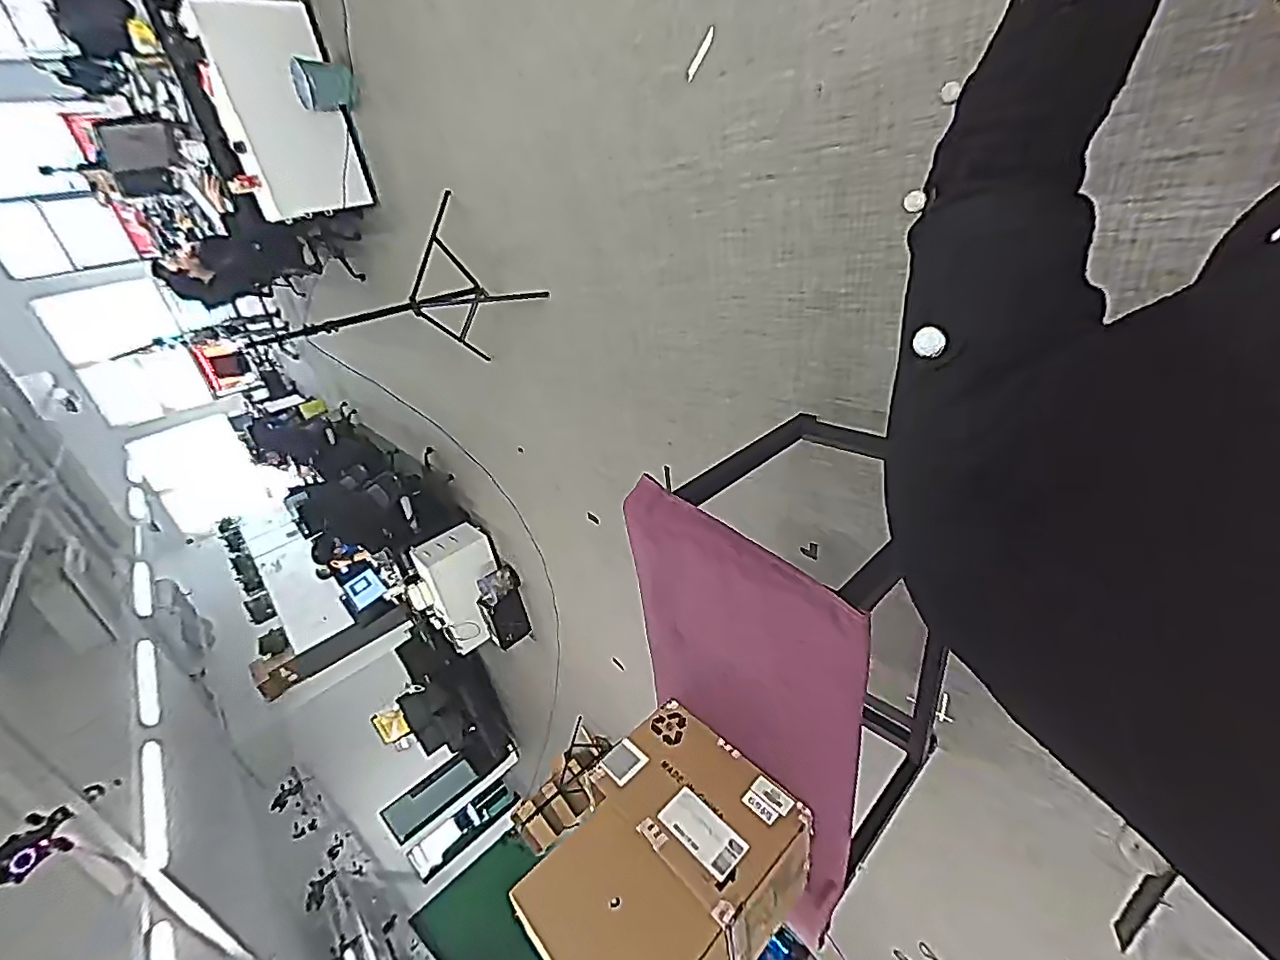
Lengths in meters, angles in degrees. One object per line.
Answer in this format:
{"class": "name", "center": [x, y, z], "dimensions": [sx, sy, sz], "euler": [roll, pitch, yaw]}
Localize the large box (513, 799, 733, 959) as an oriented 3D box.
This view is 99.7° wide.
{"class": "large box", "center": [-0.036, 1.075, 1.275], "dimensions": [0.408, 0.320, 0.320], "euler": [22, 133, 44]}
